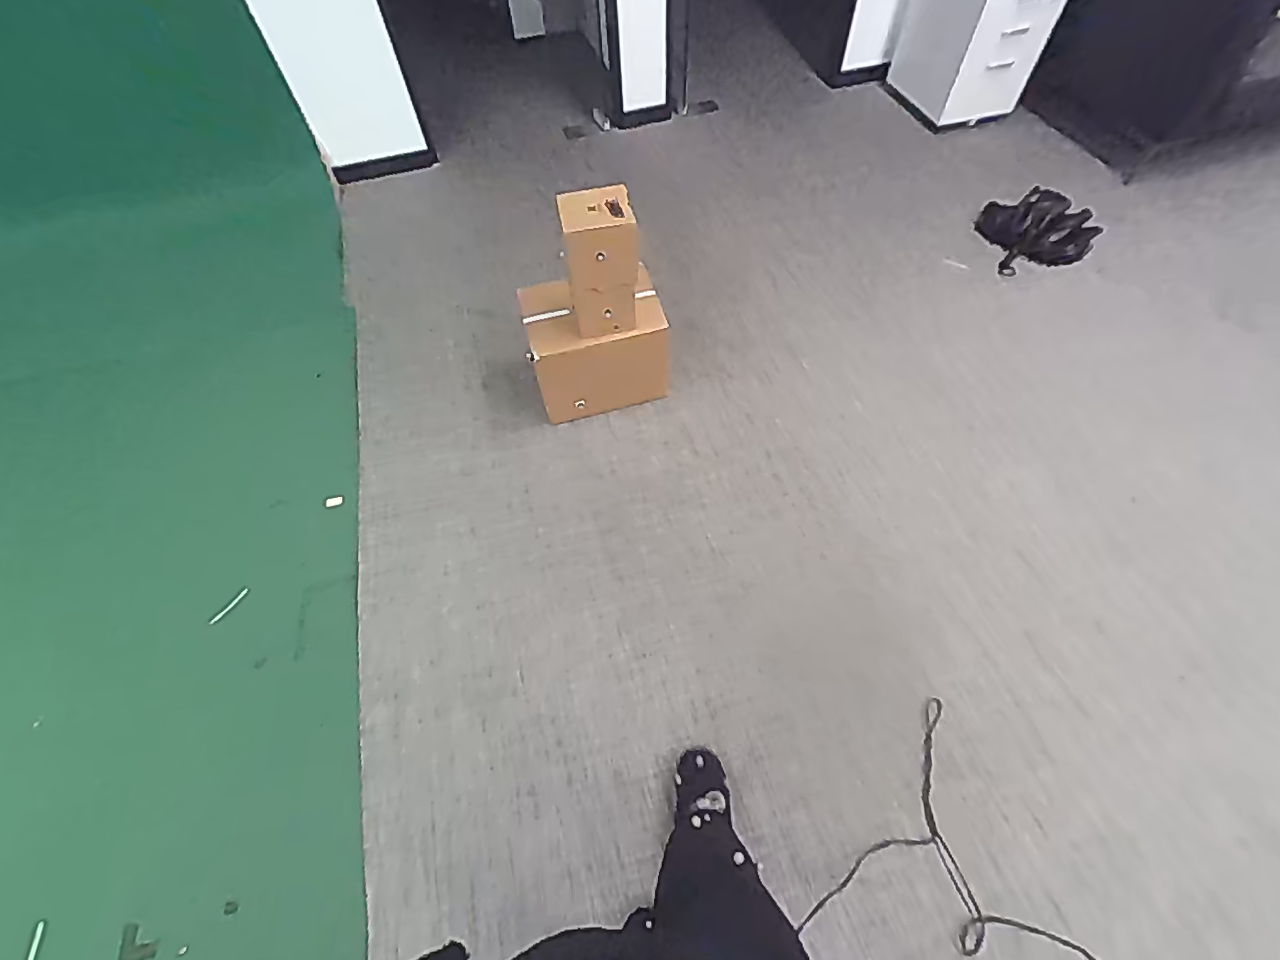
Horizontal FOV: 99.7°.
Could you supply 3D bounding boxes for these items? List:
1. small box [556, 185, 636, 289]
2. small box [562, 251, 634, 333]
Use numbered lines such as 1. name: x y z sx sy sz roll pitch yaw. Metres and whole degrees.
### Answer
1. small box: -0.108 -0.612 1.371 0.179 0.176 0.168 -10 59 -3
2. small box: -0.114 -0.533 1.516 0.168 0.176 0.179 -13 60 -6
